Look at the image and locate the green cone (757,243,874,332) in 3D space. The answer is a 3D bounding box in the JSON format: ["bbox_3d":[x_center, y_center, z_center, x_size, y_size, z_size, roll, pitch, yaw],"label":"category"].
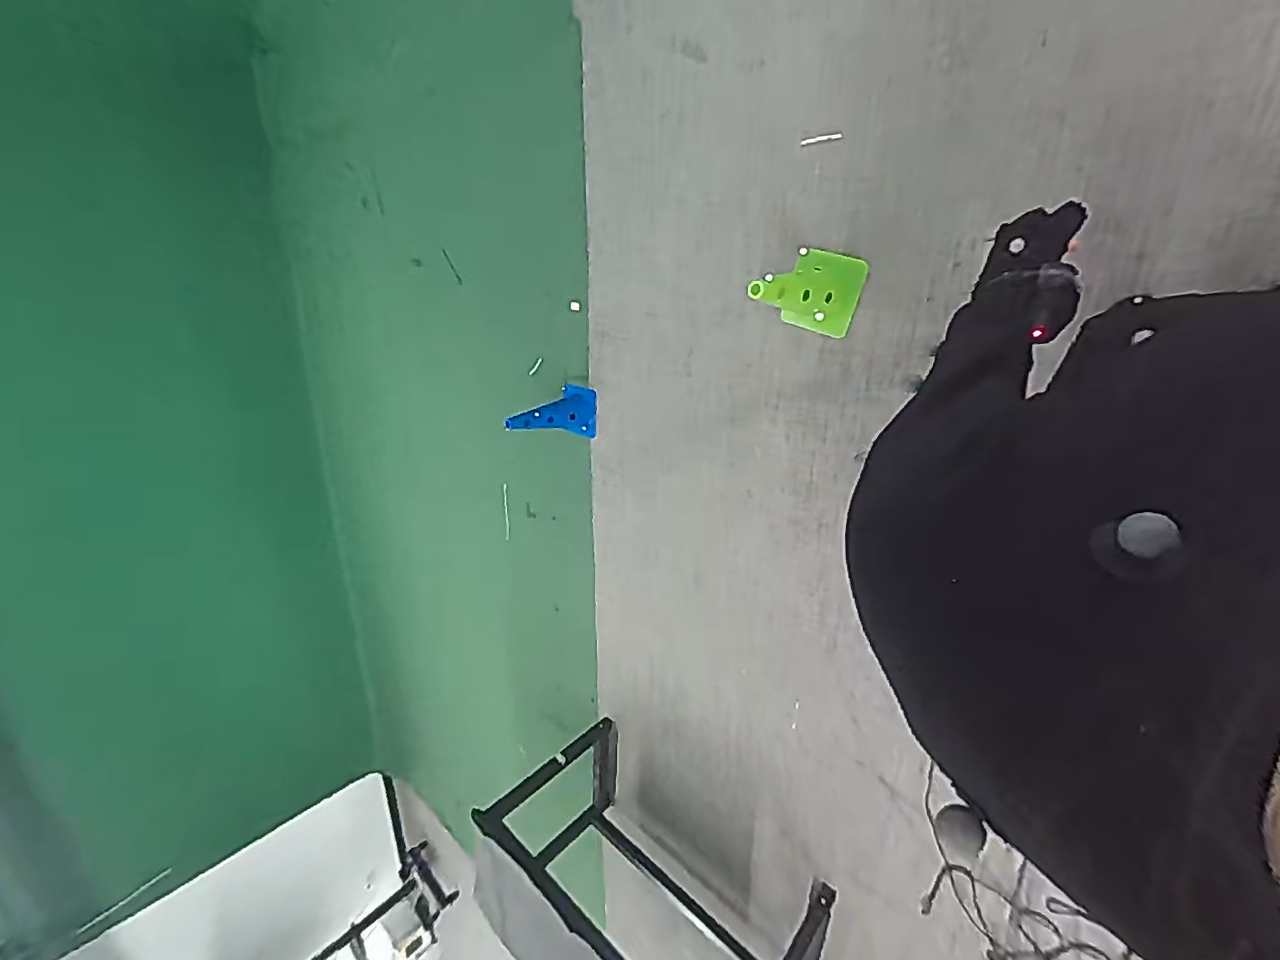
[{"bbox_3d":[0.392,-0.478,1.332,0.202,0.368,0.200,30,122,33],"label":"green cone"}]
